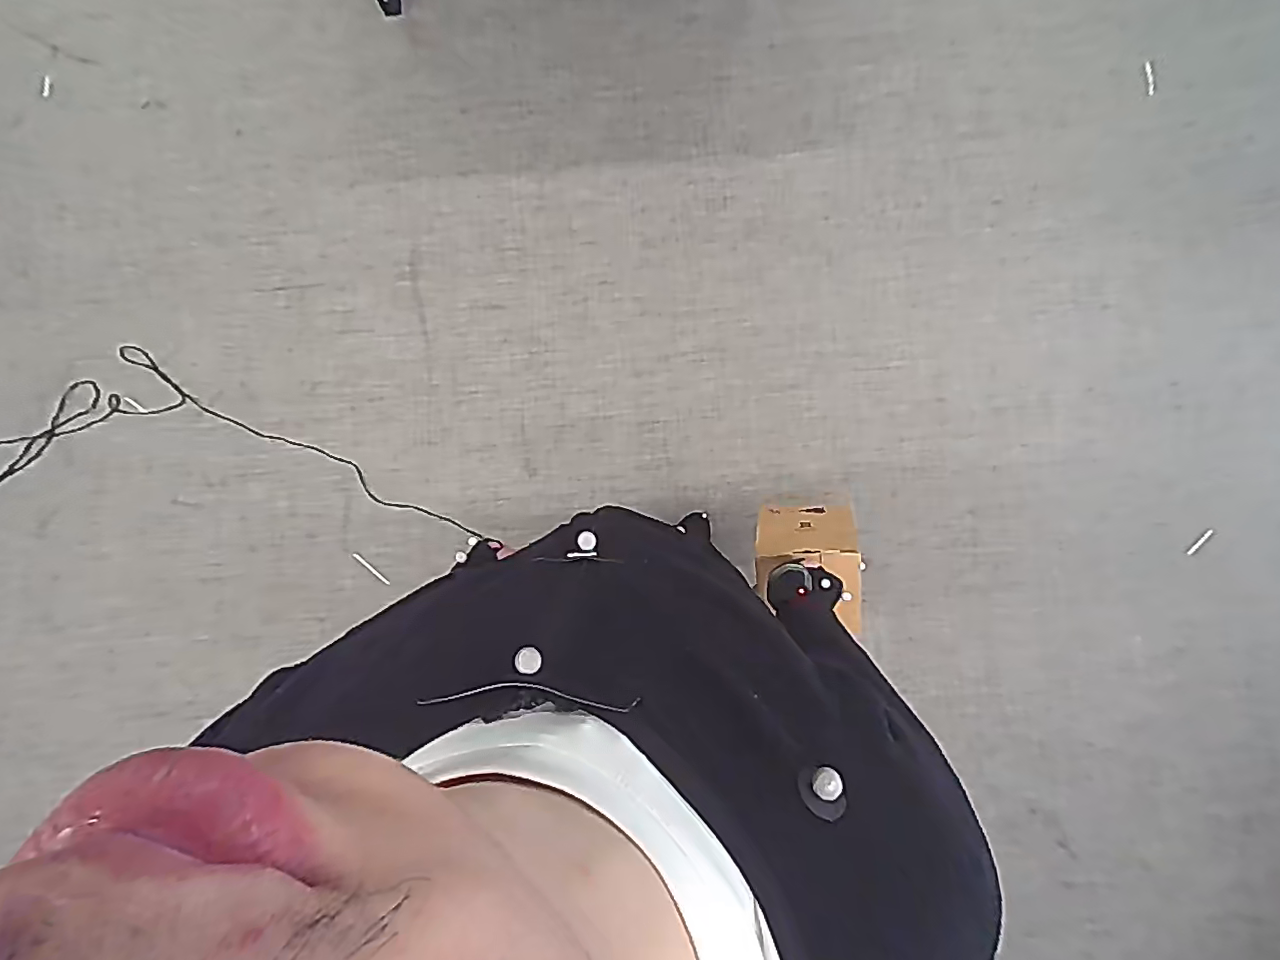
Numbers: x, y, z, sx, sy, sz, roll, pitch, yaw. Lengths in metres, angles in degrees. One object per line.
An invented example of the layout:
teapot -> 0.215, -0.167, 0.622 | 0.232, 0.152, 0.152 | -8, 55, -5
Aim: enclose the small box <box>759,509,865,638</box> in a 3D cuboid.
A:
small box -> 0.307, 0.168, 0.974 | 0.168, 0.179, 0.176 | -4, 111, 15
